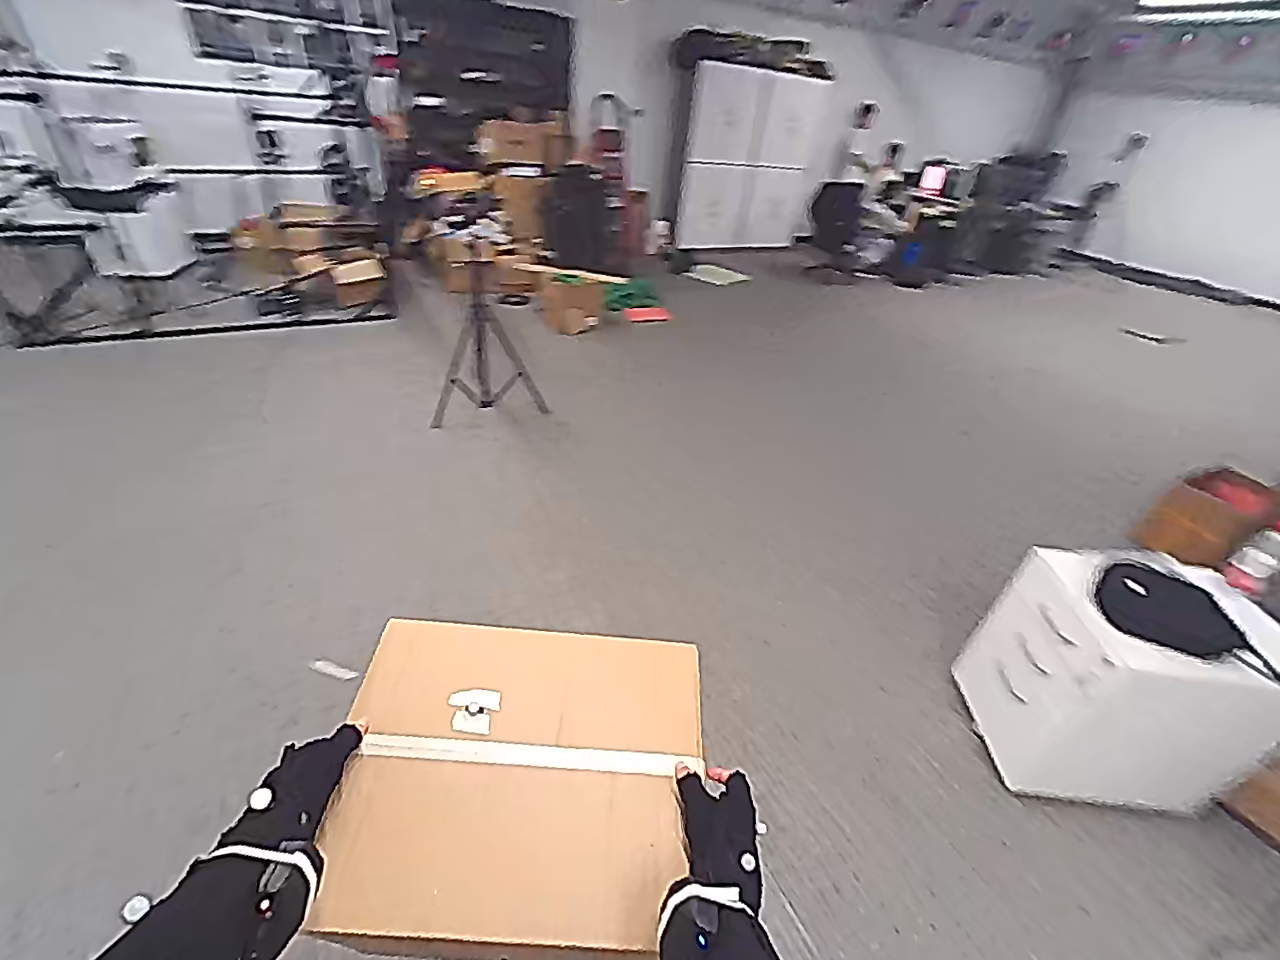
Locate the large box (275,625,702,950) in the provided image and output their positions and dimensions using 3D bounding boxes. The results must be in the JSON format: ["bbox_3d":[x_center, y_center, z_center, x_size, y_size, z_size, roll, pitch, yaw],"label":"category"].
[{"bbox_3d":[-0.150,0.412,0.716,0.408,0.320,0.320,4,45,-3],"label":"large box"}]
